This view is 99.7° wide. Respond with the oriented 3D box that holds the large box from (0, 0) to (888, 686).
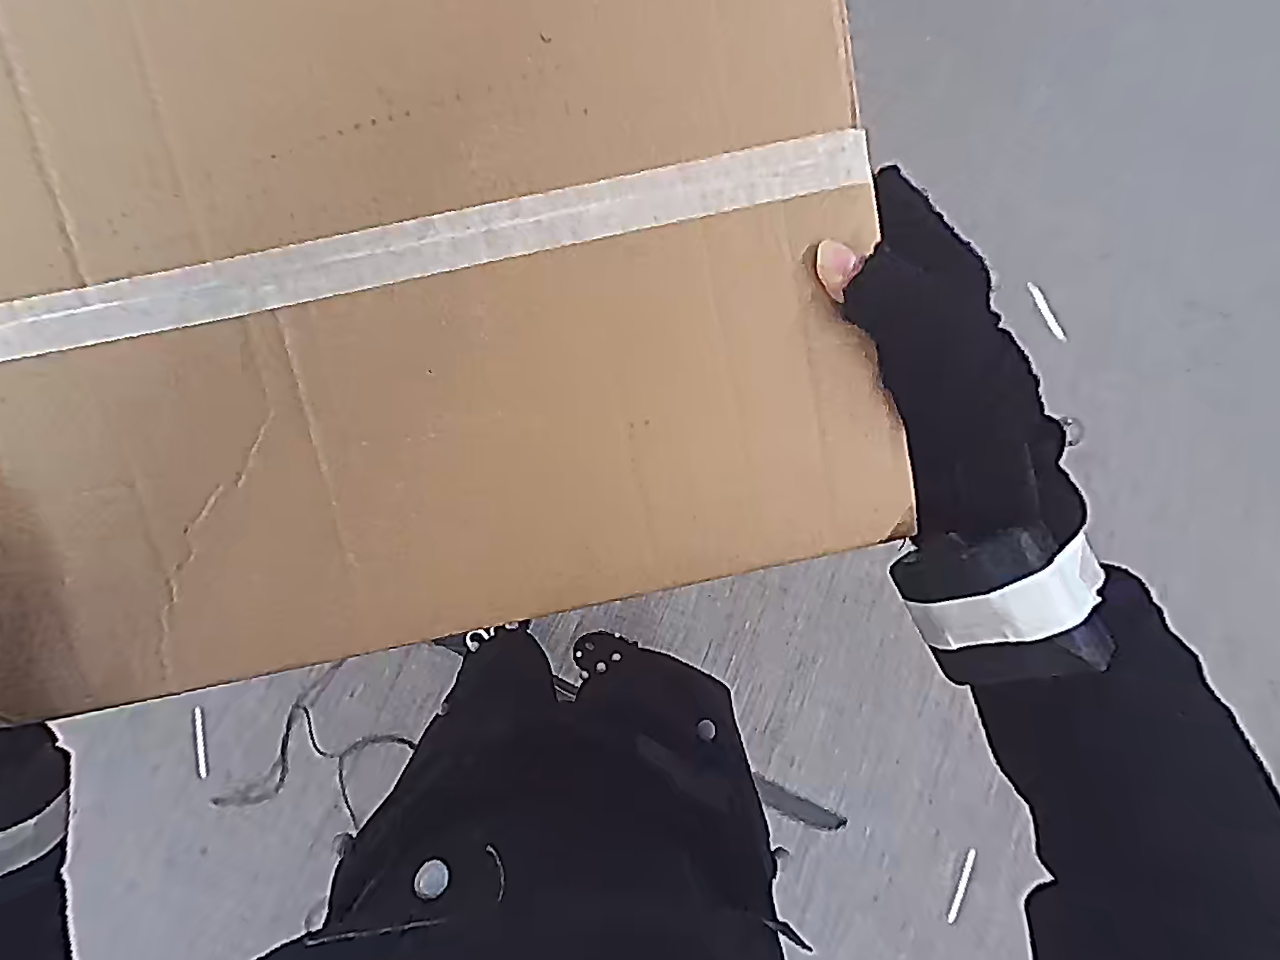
[{"bbox_3d":[-0.109,-0.112,0.372,0.408,0.320,0.320,-10,98,-1],"label":"large box"}]
